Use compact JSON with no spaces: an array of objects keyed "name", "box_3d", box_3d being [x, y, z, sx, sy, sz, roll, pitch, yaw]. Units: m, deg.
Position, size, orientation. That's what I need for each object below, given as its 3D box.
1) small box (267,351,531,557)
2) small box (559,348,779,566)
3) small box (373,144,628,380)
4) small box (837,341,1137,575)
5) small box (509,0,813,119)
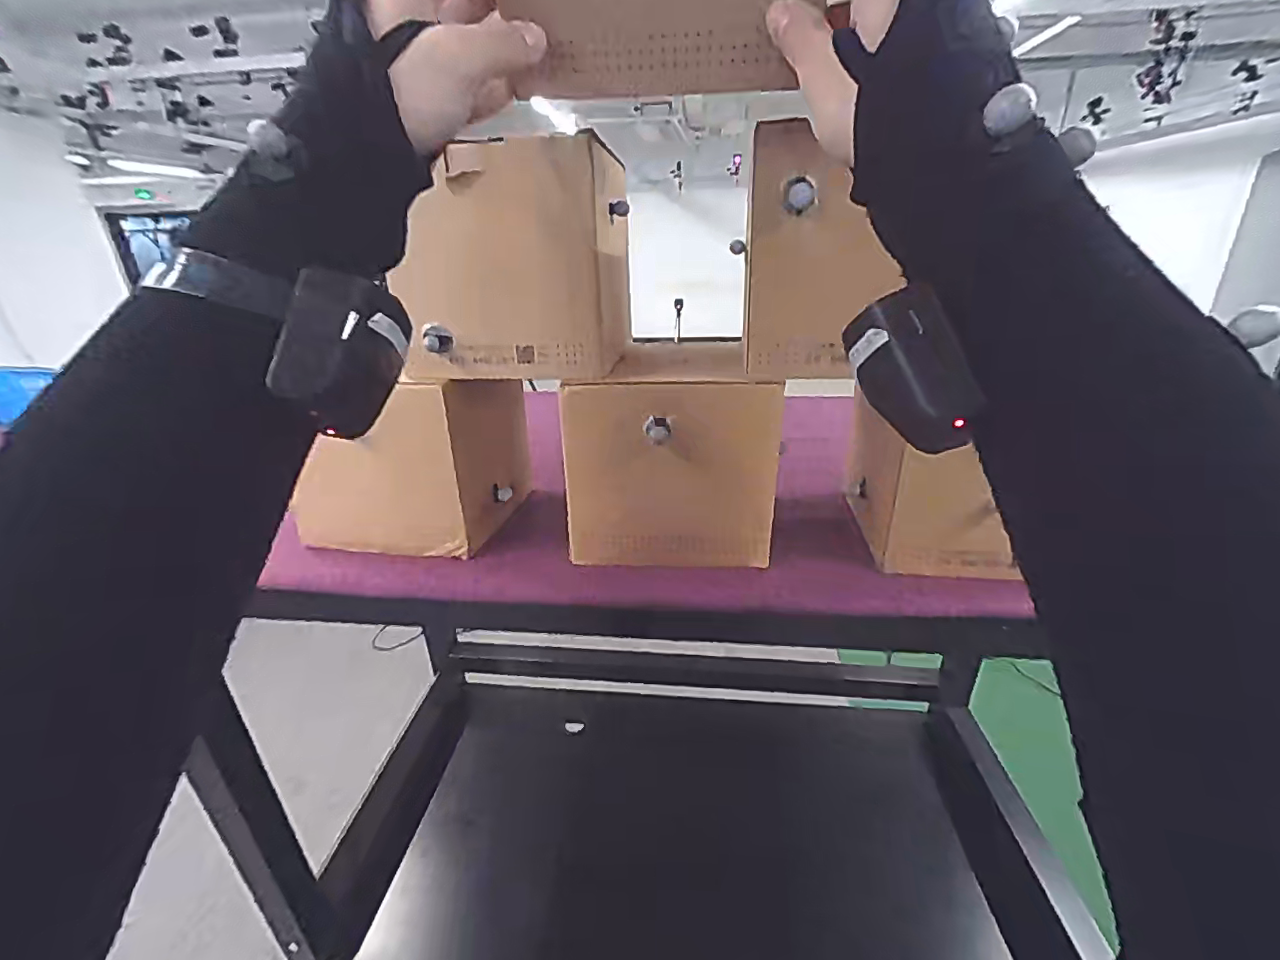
[{"name":"small box","box_3d":[-0.226,-0.034,0.556,0.179,0.176,0.168,4,23,10]},{"name":"small box","box_3d":[0.030,-0.028,0.528,0.179,0.176,0.168,0,23,5]},{"name":"small box","box_3d":[-0.103,-0.188,0.491,0.168,0.176,0.179,1,22,6]},{"name":"small box","box_3d":[0.289,-0.027,0.501,0.168,0.176,0.179,2,24,8]},{"name":"small box","box_3d":[0.016,-0.338,0.332,0.179,0.176,0.168,2,46,8]}]
